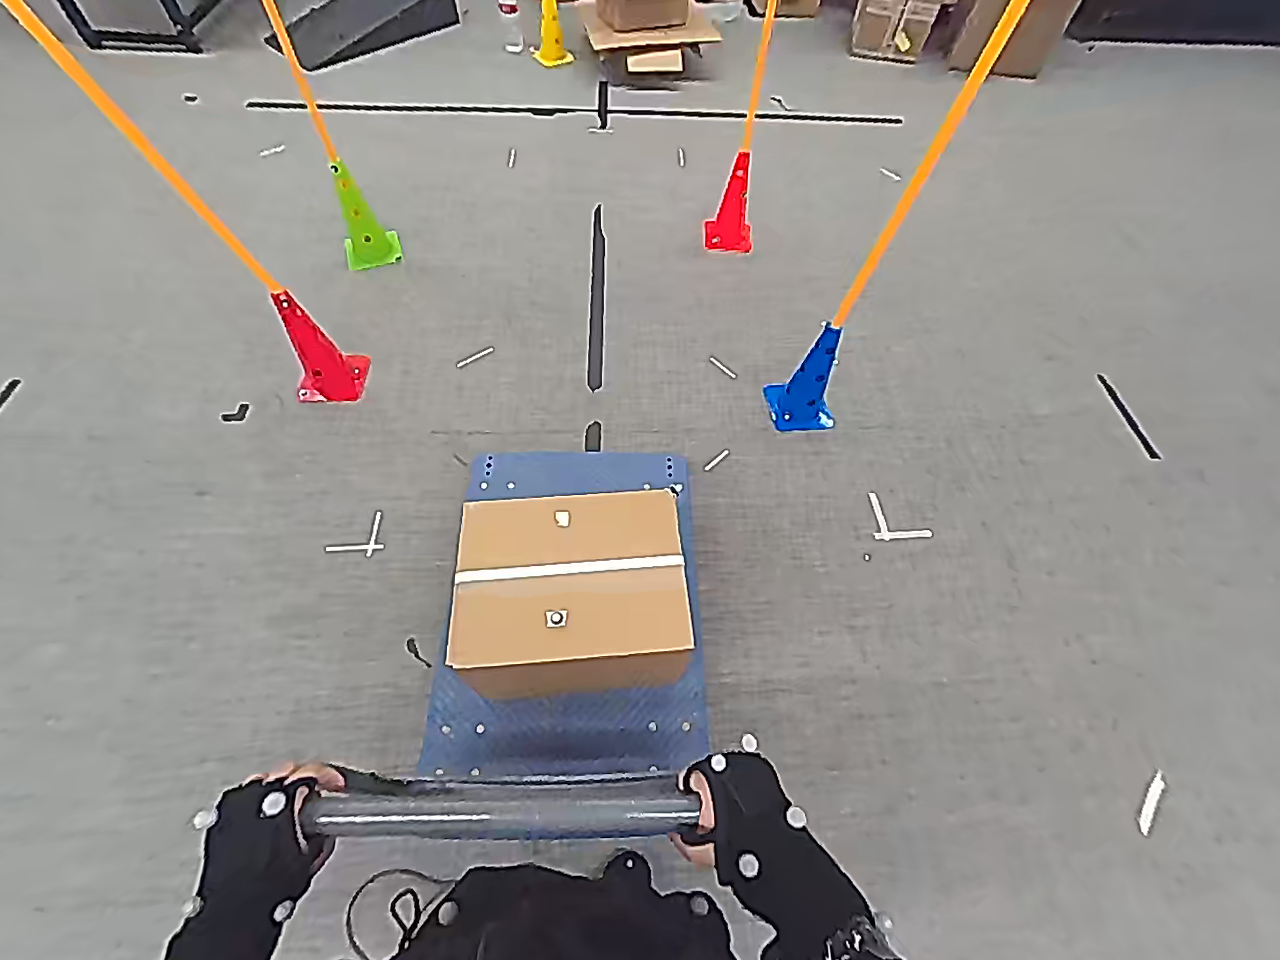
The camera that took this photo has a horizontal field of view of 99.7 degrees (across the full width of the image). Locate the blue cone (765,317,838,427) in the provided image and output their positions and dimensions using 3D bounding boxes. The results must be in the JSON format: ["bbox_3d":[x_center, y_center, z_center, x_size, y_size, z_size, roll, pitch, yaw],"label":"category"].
[{"bbox_3d":[0.537,-0.341,1.678,0.193,0.380,0.192,-4,58,-6],"label":"blue cone"}]

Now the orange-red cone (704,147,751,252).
[{"bbox_3d":[0.379,-1.117,2.128,0.199,0.360,0.198,6,59,-1],"label":"orange-red cone"}]
